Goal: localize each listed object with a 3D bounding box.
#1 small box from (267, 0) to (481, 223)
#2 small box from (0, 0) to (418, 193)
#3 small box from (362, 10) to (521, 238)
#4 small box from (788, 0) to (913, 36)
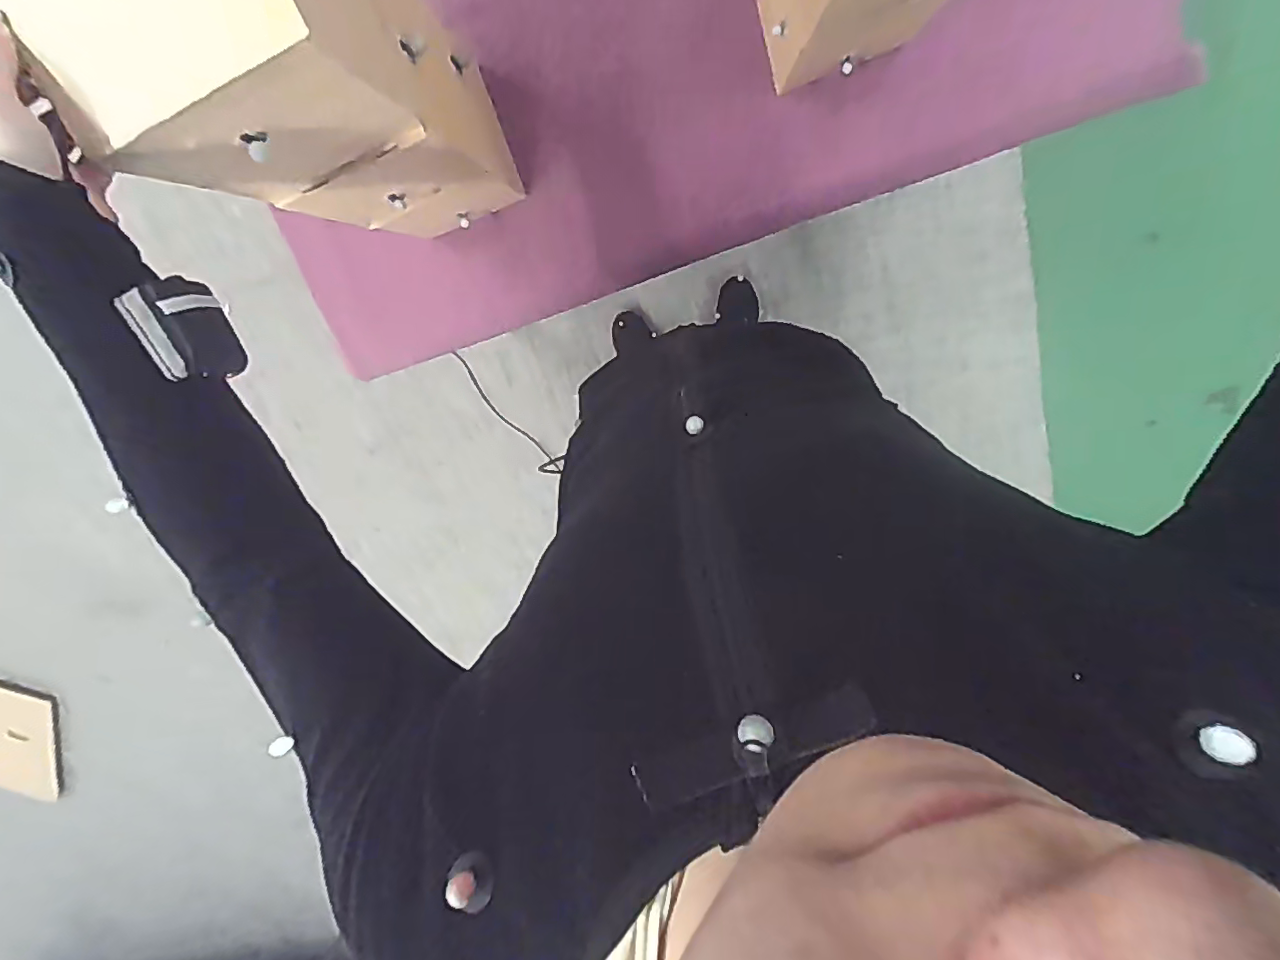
[{"bbox_3d":[-0.289,-0.383,0.542,0.168,0.176,0.179,-18,107,10],"label":"small box"},{"bbox_3d":[-0.301,-0.331,0.386,0.179,0.176,0.168,-19,107,11],"label":"small box"},{"bbox_3d":[-0.277,-0.434,0.695,0.168,0.176,0.179,-17,107,11],"label":"small box"},{"bbox_3d":[0.208,-0.518,0.450,0.168,0.176,0.179,-17,107,11],"label":"small box"}]
